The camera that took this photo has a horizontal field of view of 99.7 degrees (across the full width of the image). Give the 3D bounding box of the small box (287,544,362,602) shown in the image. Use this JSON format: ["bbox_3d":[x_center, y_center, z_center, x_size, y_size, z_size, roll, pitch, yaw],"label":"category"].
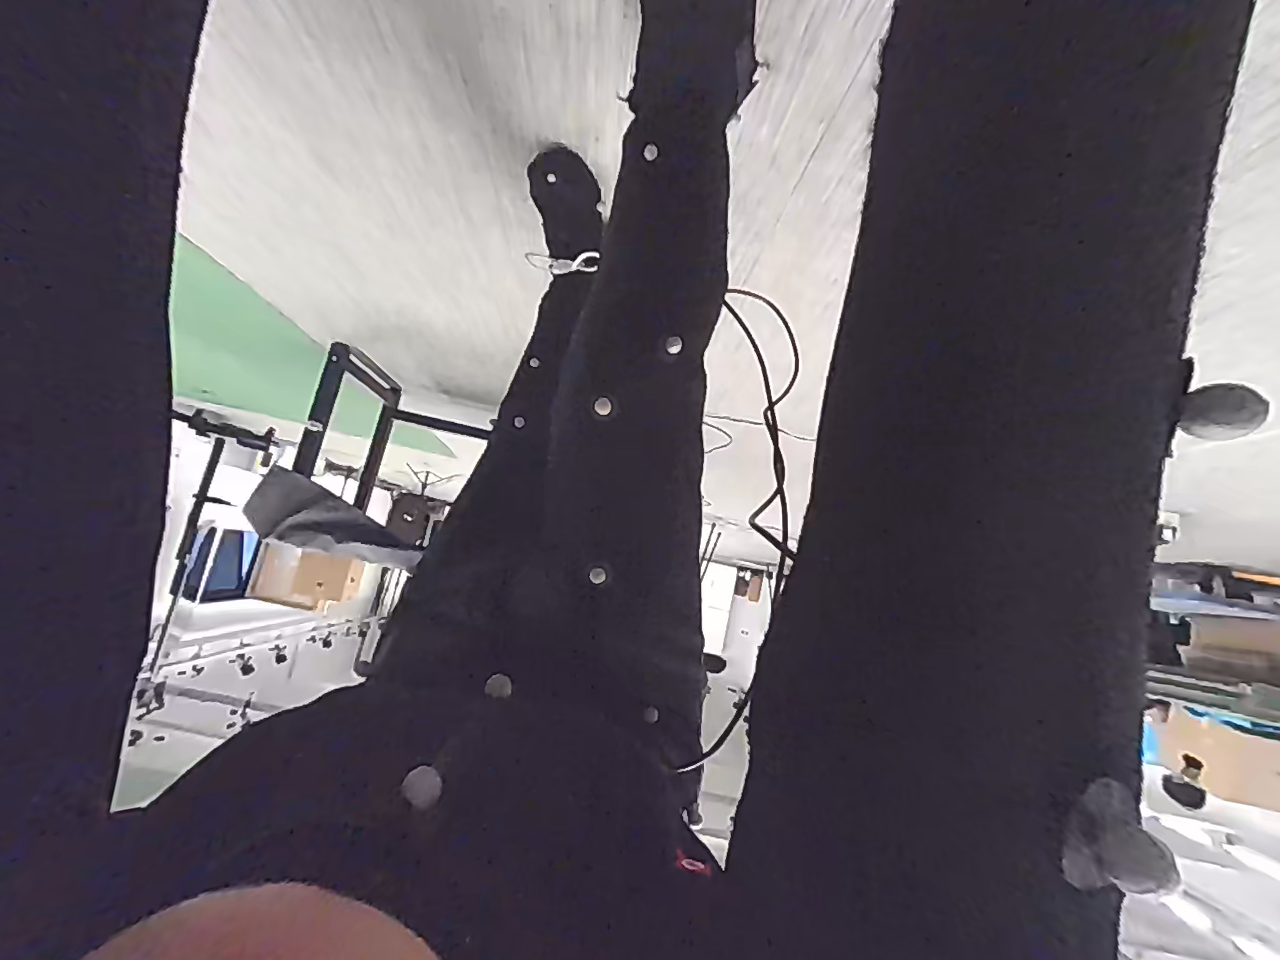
[{"bbox_3d":[-1.130,0.334,1.957,0.179,0.176,0.168,14,169,-8],"label":"small box"}]
